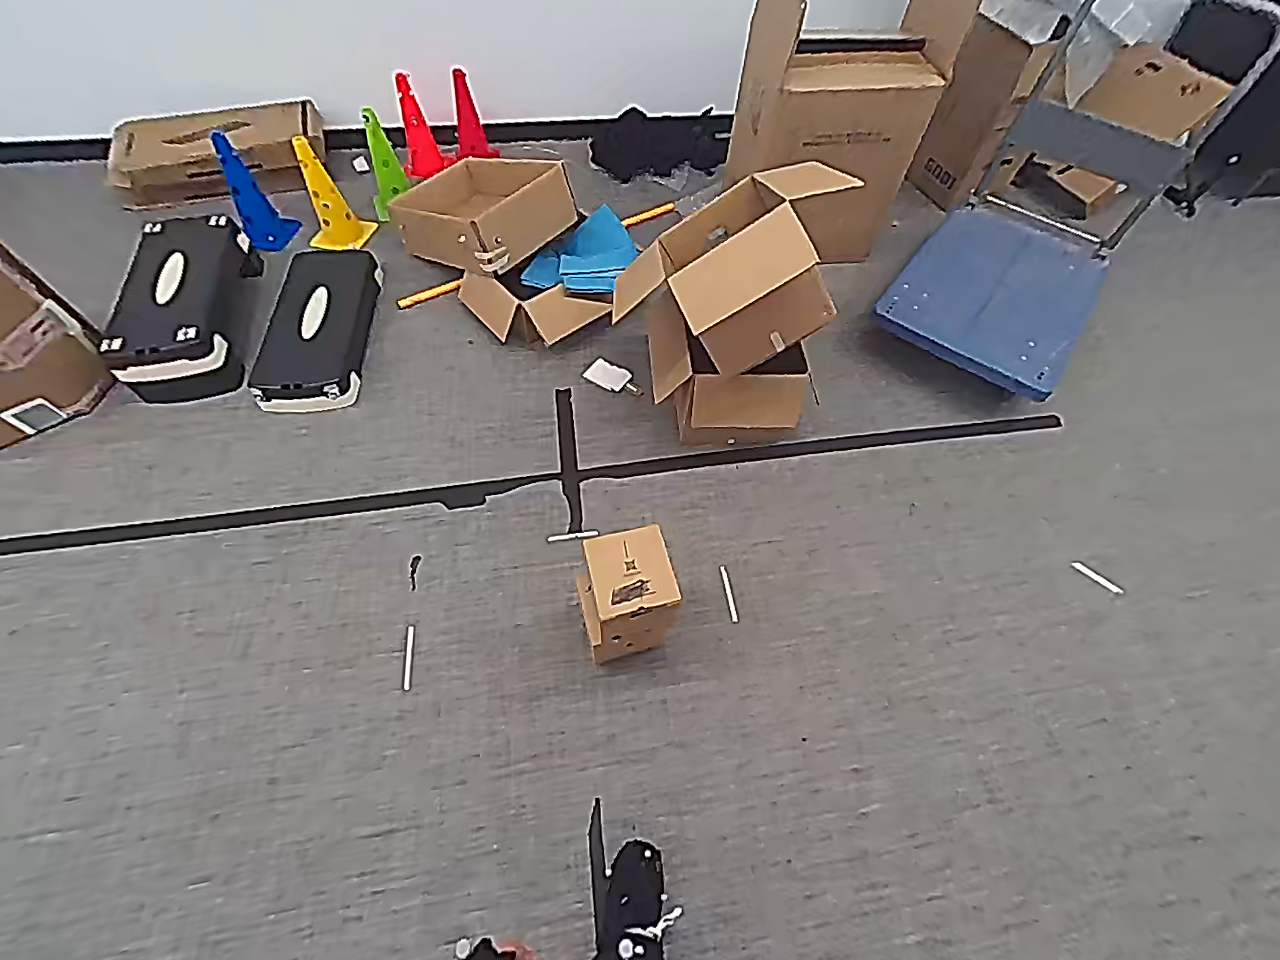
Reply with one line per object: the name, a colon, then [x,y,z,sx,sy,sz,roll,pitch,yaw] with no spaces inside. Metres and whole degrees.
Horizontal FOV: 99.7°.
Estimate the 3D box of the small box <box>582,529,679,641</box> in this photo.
small box: [-0.023,0.230,1.148,0.168,0.176,0.179,-11,58,-10]
